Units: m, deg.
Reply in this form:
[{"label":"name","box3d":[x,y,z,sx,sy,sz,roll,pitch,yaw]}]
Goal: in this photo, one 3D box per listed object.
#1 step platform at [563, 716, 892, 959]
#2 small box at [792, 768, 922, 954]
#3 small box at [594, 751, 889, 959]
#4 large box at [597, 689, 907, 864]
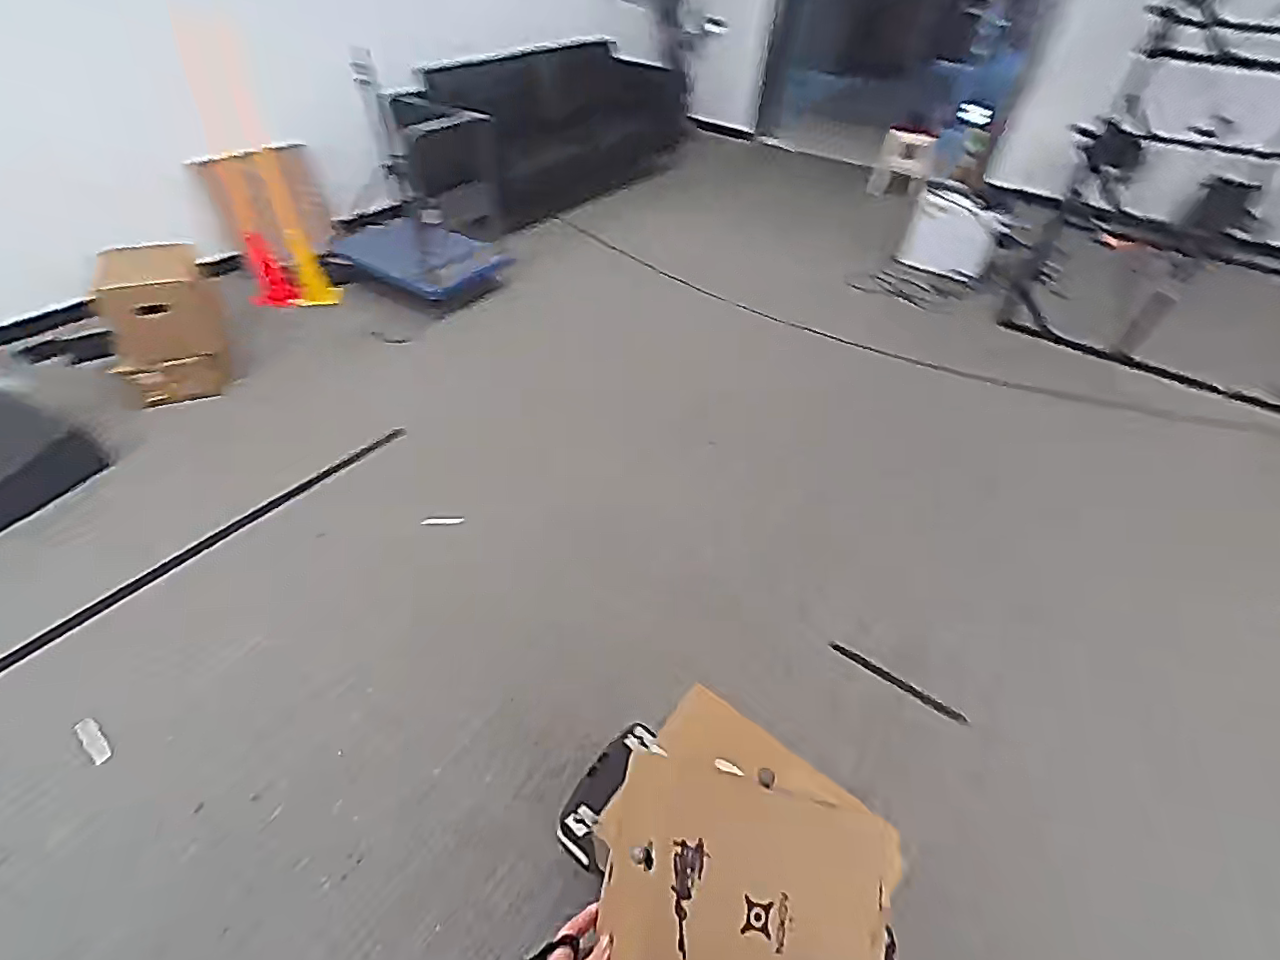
[{"label":"step platform","box3d":[0.149,0.837,1.130,0.684,0.204,0.286,34,53,29]},{"label":"small box","box3d":[0.242,0.545,0.743,0.179,0.176,0.168,33,54,28]},{"label":"small box","box3d":[0.074,0.332,0.443,0.179,0.176,0.168,17,64,-6]},{"label":"large box","box3d":[0.179,0.669,0.963,0.408,0.320,0.320,30,51,26]}]
